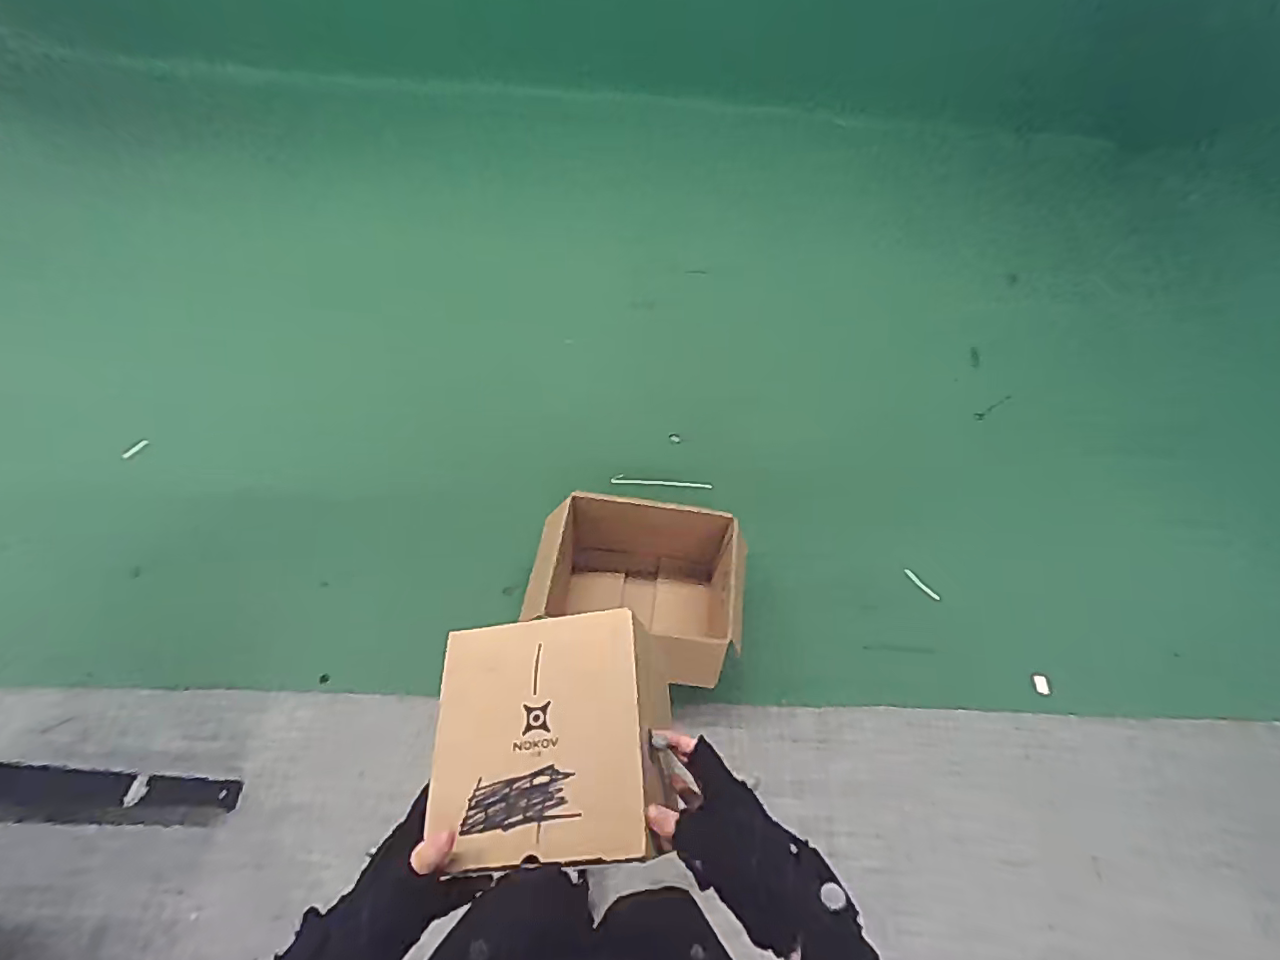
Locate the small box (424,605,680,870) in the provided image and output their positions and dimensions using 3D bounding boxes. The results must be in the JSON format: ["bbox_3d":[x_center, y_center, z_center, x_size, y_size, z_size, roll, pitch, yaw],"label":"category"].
[{"bbox_3d":[-0.062,0.230,0.481,0.168,0.176,0.179,-10,56,8],"label":"small box"}]
